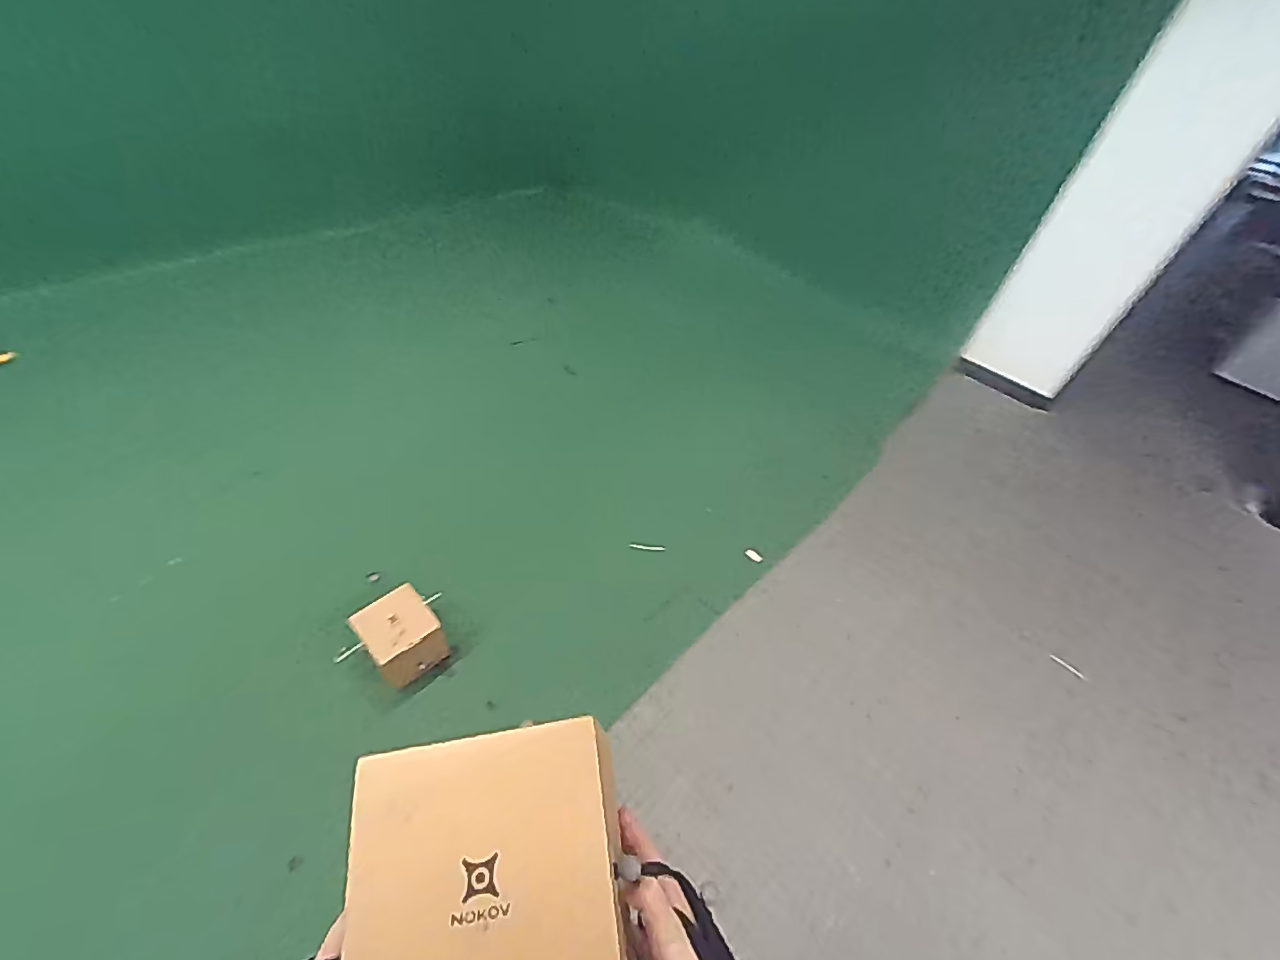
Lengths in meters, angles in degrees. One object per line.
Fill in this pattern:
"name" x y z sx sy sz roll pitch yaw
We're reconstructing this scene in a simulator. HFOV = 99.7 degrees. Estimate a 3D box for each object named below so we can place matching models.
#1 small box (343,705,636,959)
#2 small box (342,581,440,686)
"small box" -0.096 0.283 0.399 0.168 0.176 0.179 -8 61 -6
"small box" -0.656 0.410 1.436 0.168 0.176 0.179 -33 60 -33
